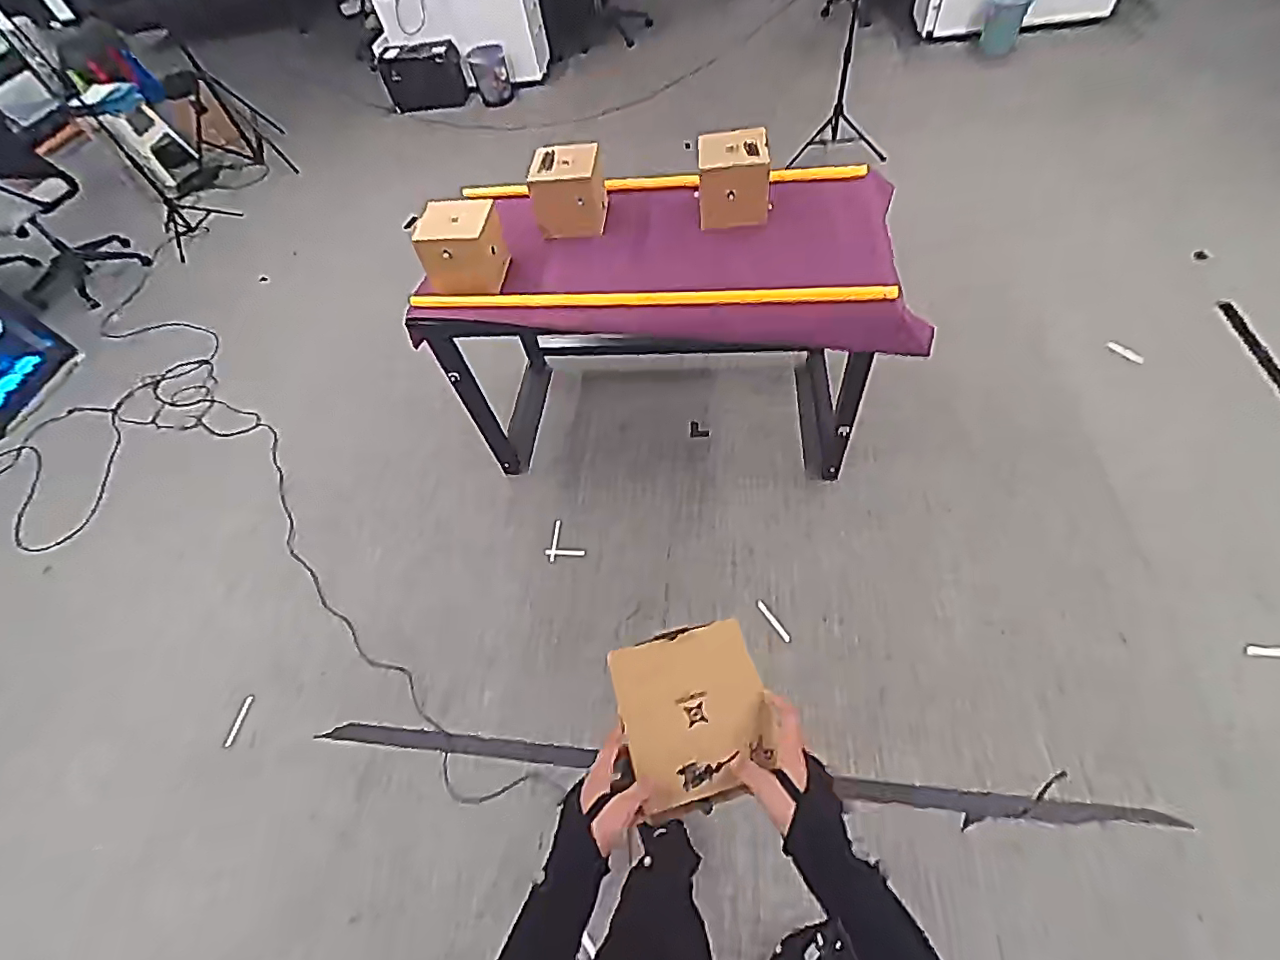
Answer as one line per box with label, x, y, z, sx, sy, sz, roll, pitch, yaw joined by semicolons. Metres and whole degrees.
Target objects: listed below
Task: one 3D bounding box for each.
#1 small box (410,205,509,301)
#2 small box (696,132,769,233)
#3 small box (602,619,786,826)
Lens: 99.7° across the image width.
small box;-0.457;-0.586;1.404;0.179;0.176;0.168;0;56;7
small box;0.240;-0.779;1.425;0.179;0.176;0.168;-2;57;9
small box;0.056;0.301;0.665;0.168;0.176;0.179;-15;55;-6
